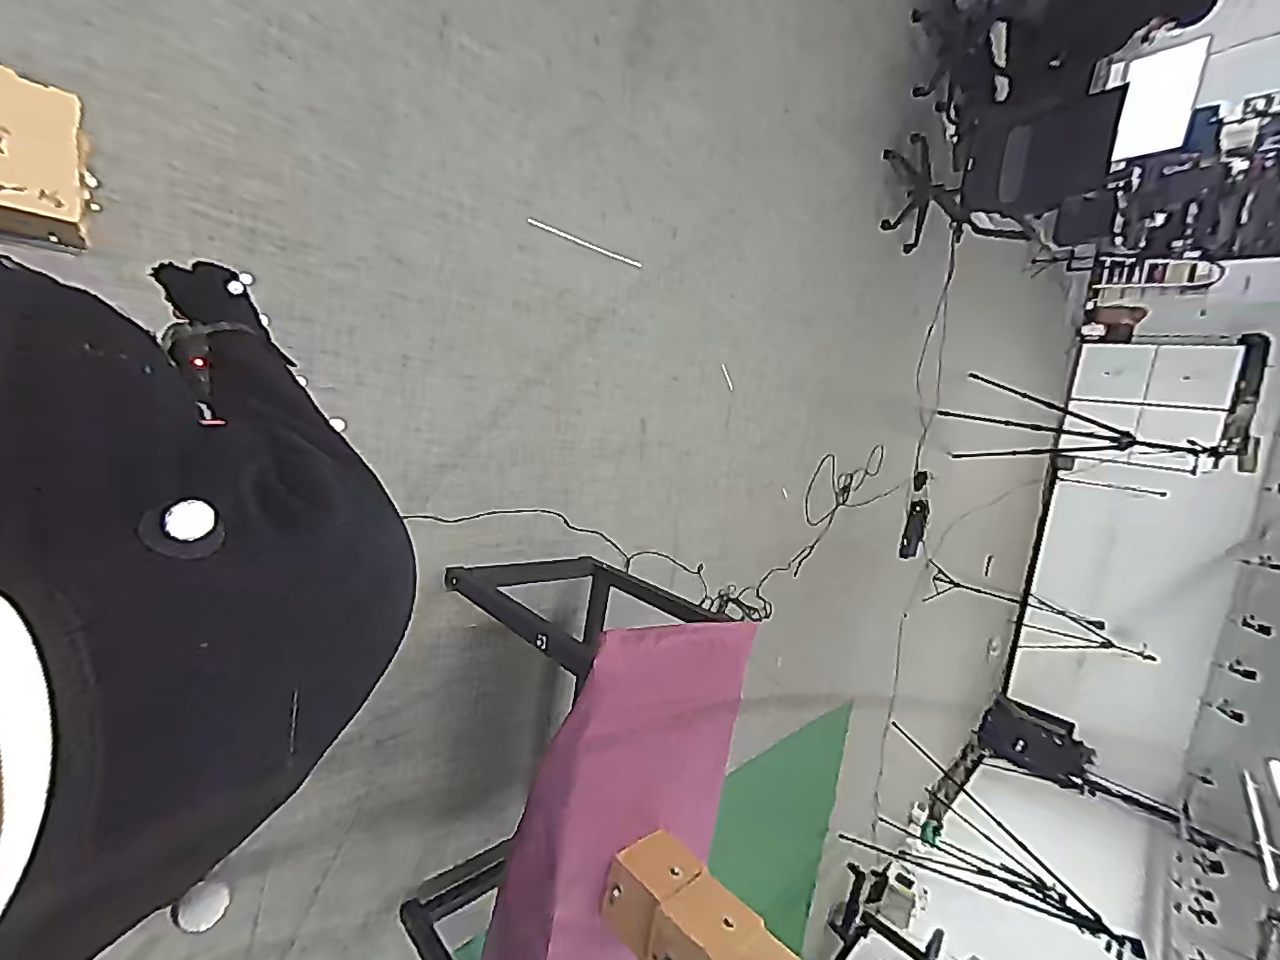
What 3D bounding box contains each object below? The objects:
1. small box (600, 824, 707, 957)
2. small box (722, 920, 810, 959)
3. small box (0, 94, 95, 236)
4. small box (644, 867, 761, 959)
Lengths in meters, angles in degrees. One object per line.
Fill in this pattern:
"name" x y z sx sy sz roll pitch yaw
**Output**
"small box" 0.032 0.980 1.309 0.179 0.176 0.168 9 94 -46
"small box" 0.244 1.037 1.065 0.179 0.176 0.168 7 95 -47
"small box" -1.023 -0.517 0.886 0.179 0.176 0.168 1 100 -45
"small box" 0.136 1.004 1.185 0.179 0.176 0.168 6 95 -46
